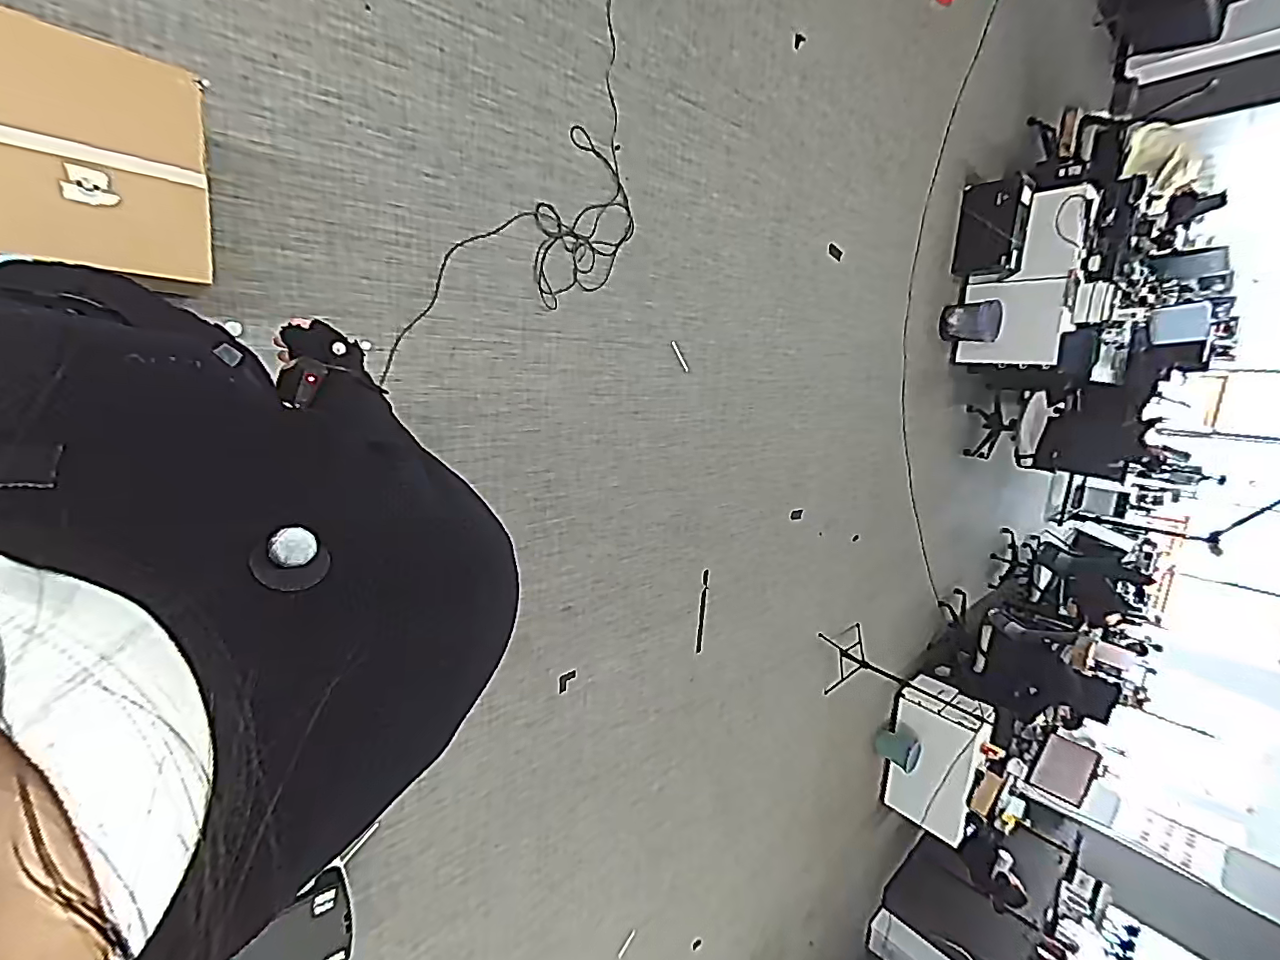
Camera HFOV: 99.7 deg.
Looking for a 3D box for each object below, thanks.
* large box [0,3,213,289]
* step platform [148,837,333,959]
[{"bbox_3d":[-0.941,-0.497,0.839,0.408,0.320,0.320,-5,105,-42],"label":"large box"},{"bbox_3d":[-1.082,1.142,1.214,0.684,0.204,0.286,-9,107,-39],"label":"step platform"}]
